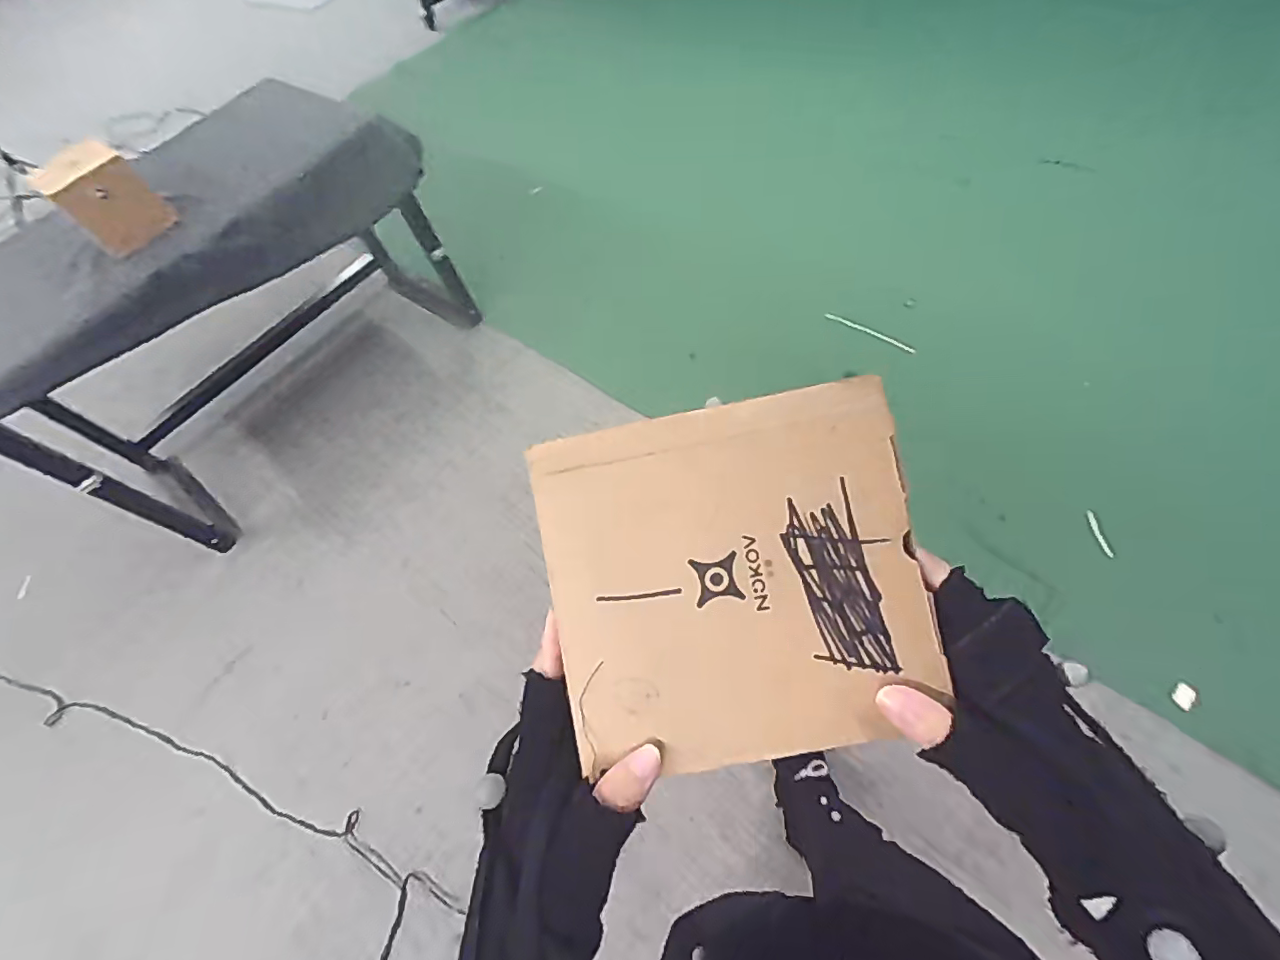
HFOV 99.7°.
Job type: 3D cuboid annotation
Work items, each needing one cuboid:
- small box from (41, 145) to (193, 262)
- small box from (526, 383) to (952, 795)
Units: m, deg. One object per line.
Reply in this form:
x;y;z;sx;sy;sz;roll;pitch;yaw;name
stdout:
-1.240;-0.657;1.293;0.168;0.176;0.179;32;70;24;small box
0.046;0.055;0.338;0.179;0.176;0.168;-14;85;0;small box
